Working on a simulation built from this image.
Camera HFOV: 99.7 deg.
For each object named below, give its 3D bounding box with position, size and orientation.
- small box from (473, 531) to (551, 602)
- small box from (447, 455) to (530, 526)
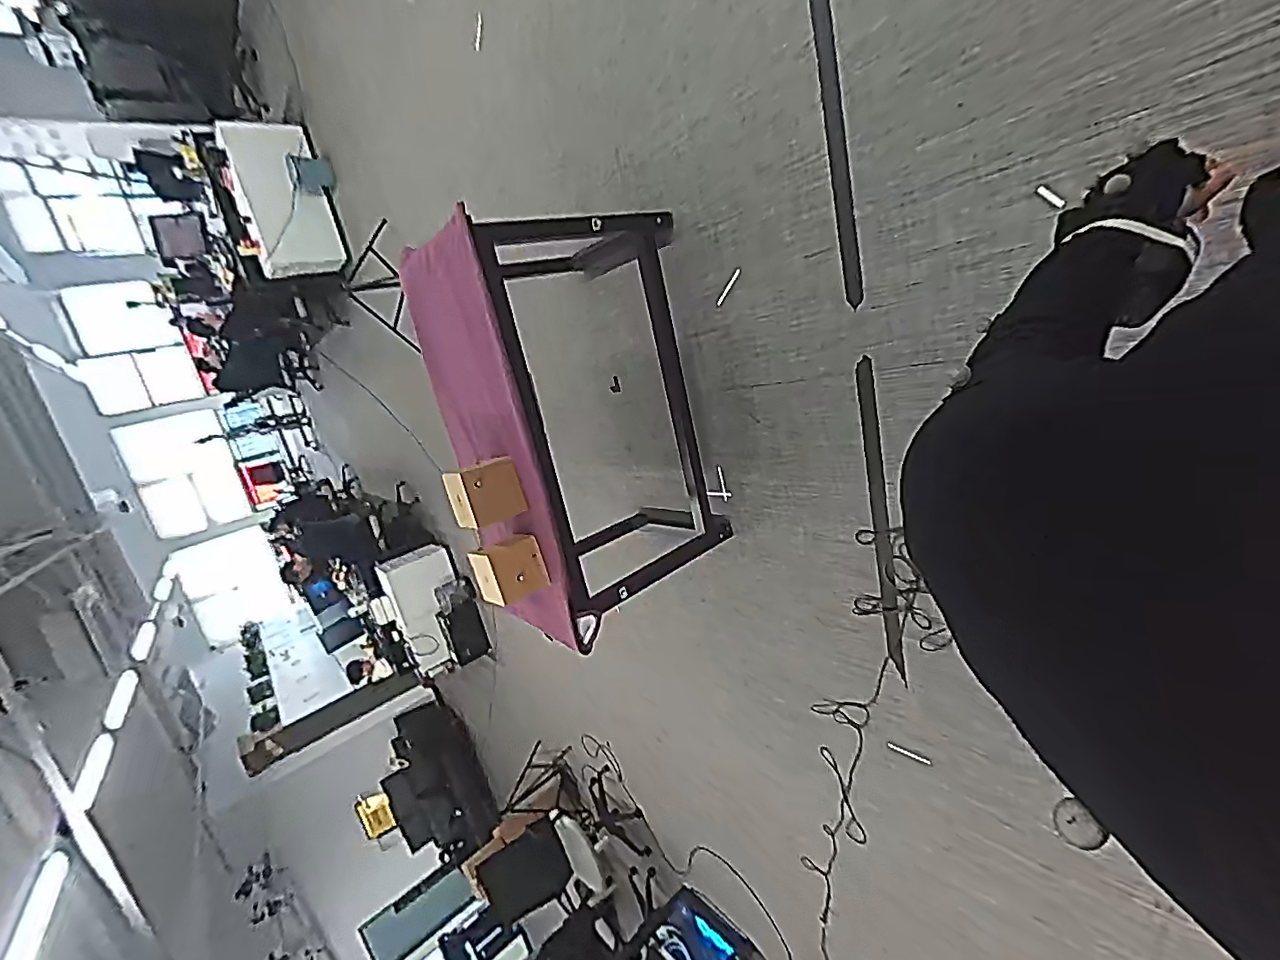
[{"bbox_3d":[-0.399,0.267,1.711,0.179,0.176,0.168,-6,104,54],"label":"small box"},{"bbox_3d":[-0.460,0.026,1.652,0.168,0.176,0.179,-1,107,54],"label":"small box"}]
